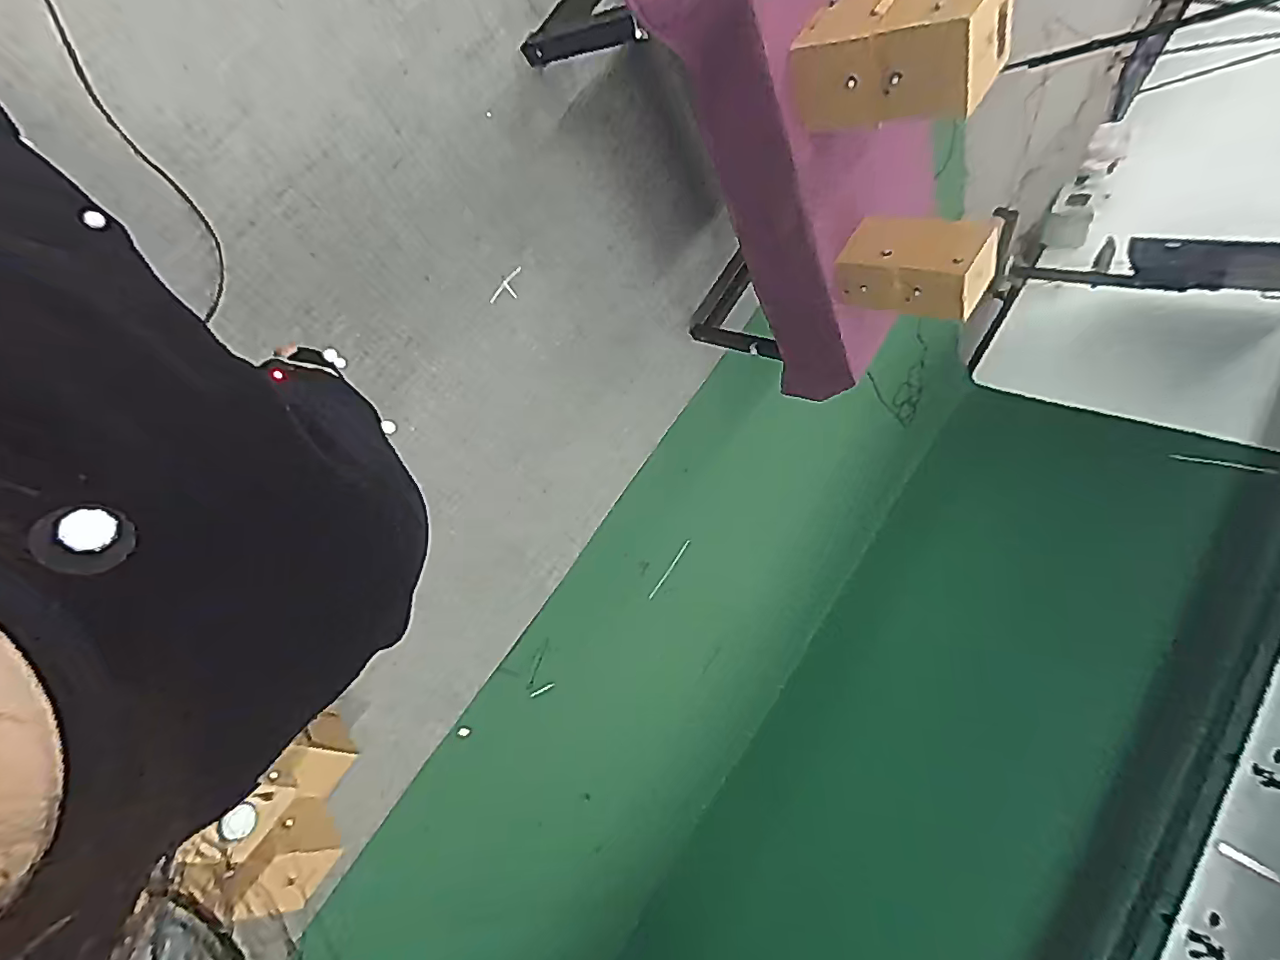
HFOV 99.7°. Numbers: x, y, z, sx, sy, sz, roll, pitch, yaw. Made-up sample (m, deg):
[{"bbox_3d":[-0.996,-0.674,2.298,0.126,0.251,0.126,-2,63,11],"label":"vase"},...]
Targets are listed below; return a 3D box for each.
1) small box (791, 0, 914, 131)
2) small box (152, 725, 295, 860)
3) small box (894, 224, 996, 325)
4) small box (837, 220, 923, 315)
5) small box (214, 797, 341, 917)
[{"bbox_3d":[0.426,-0.836,1.087,0.168,0.176,0.179,-55,141,-10],"label":"small box"},{"bbox_3d":[-0.879,0.657,1.141,0.179,0.176,0.168,-52,139,-11],"label":"small box"},{"bbox_3d":[0.778,-0.532,1.388,0.179,0.176,0.168,-54,140,-10],"label":"small box"},{"bbox_3d":[0.658,-0.585,1.485,0.179,0.176,0.168,-55,141,-11],"label":"small box"},{"bbox_3d":[-0.868,0.886,1.291,0.168,0.176,0.179,-53,141,-8],"label":"small box"}]
